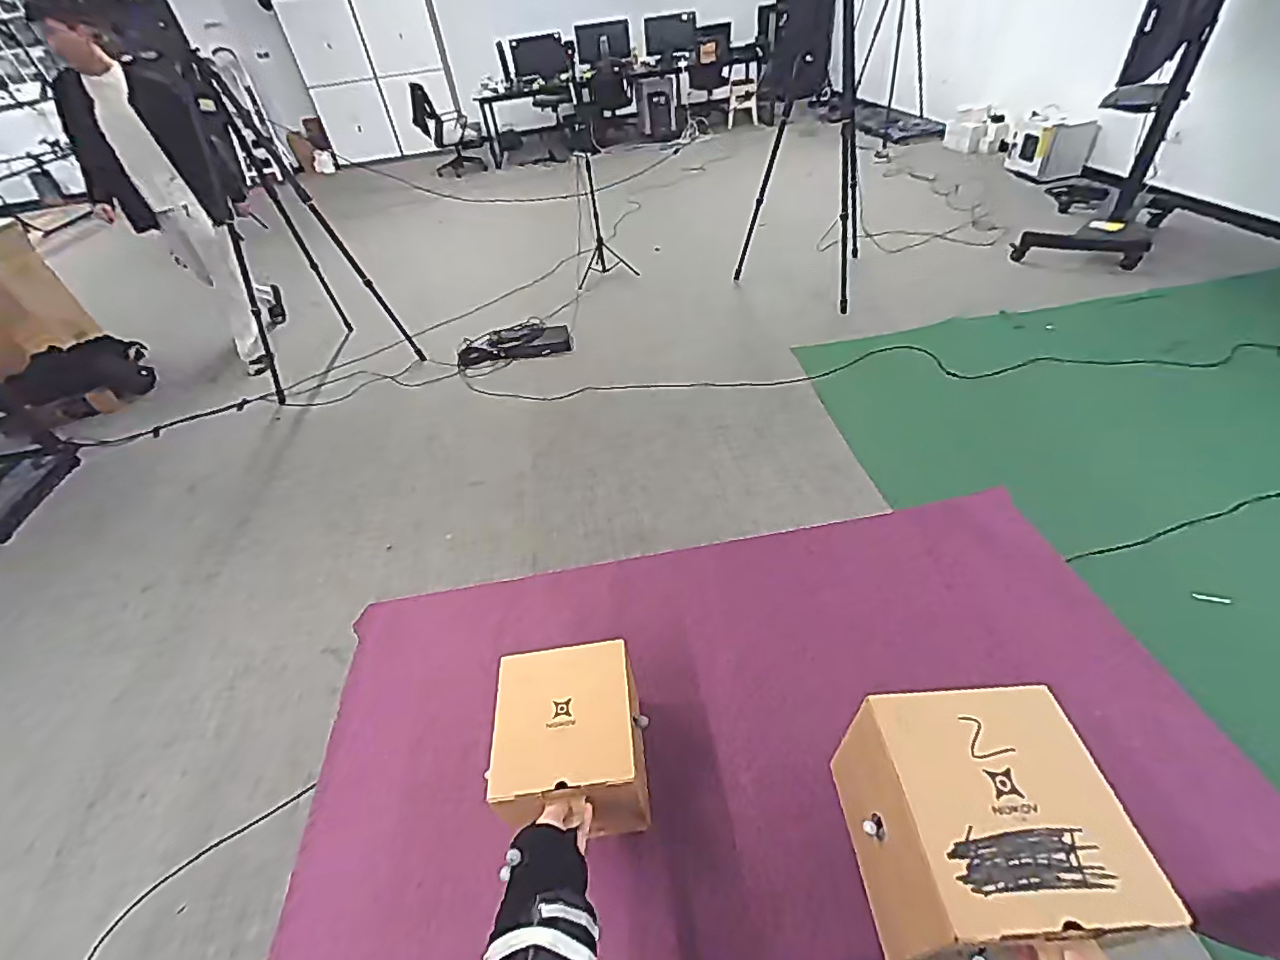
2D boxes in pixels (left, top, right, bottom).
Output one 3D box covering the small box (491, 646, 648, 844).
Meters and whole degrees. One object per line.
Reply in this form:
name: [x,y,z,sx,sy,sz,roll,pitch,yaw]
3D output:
small box: [-0.084,0.349,0.714,0.168,0.176,0.179,-9,42,0]
